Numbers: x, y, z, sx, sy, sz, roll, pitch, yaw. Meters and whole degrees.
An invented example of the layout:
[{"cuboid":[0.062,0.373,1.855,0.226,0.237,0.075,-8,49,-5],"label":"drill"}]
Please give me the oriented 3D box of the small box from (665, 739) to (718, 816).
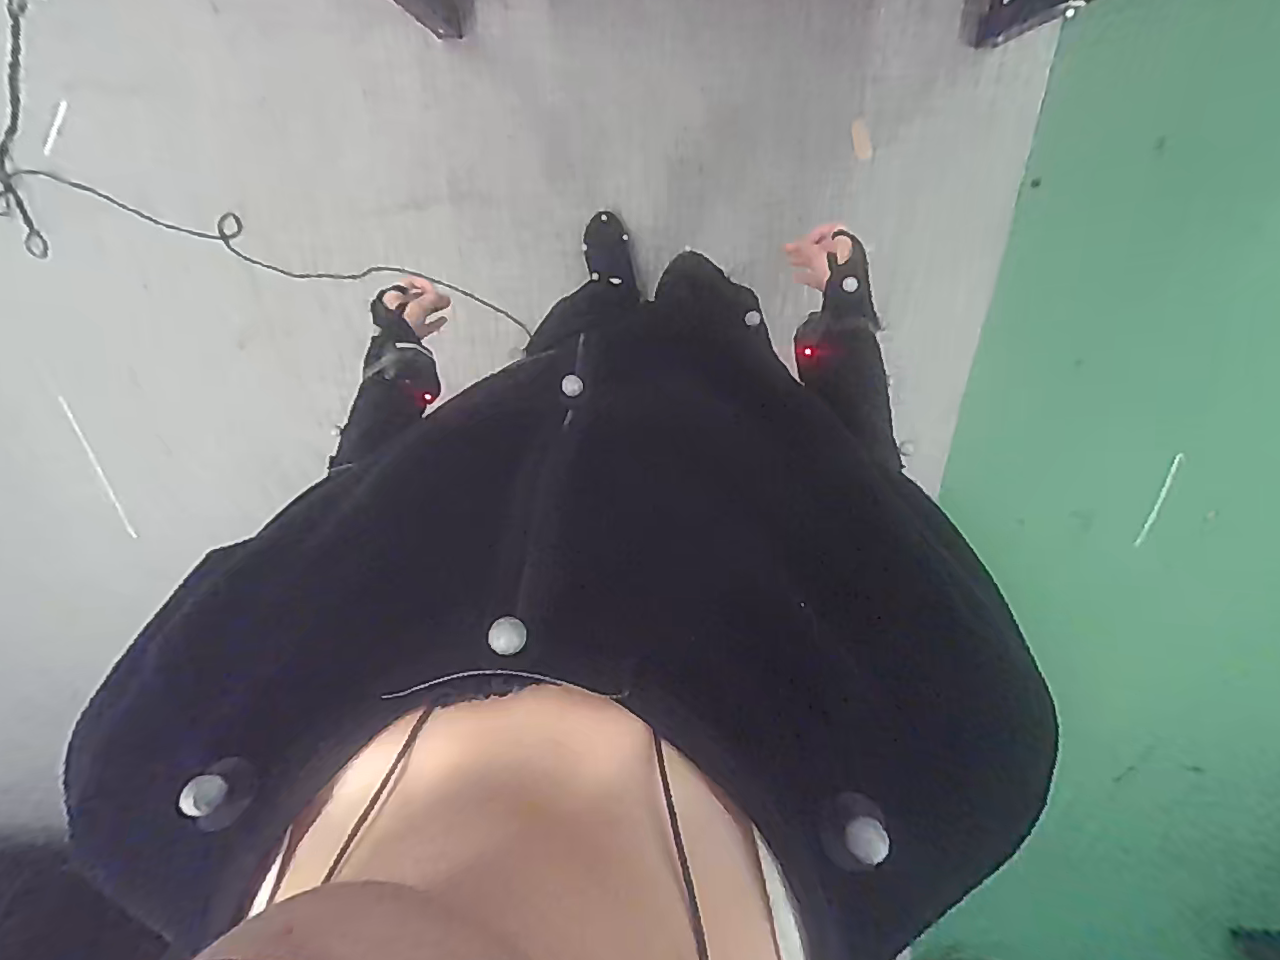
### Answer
[{"cuboid":[0.169,0.993,1.816,0.168,0.176,0.179,-2,117,2],"label":"small box"}]
